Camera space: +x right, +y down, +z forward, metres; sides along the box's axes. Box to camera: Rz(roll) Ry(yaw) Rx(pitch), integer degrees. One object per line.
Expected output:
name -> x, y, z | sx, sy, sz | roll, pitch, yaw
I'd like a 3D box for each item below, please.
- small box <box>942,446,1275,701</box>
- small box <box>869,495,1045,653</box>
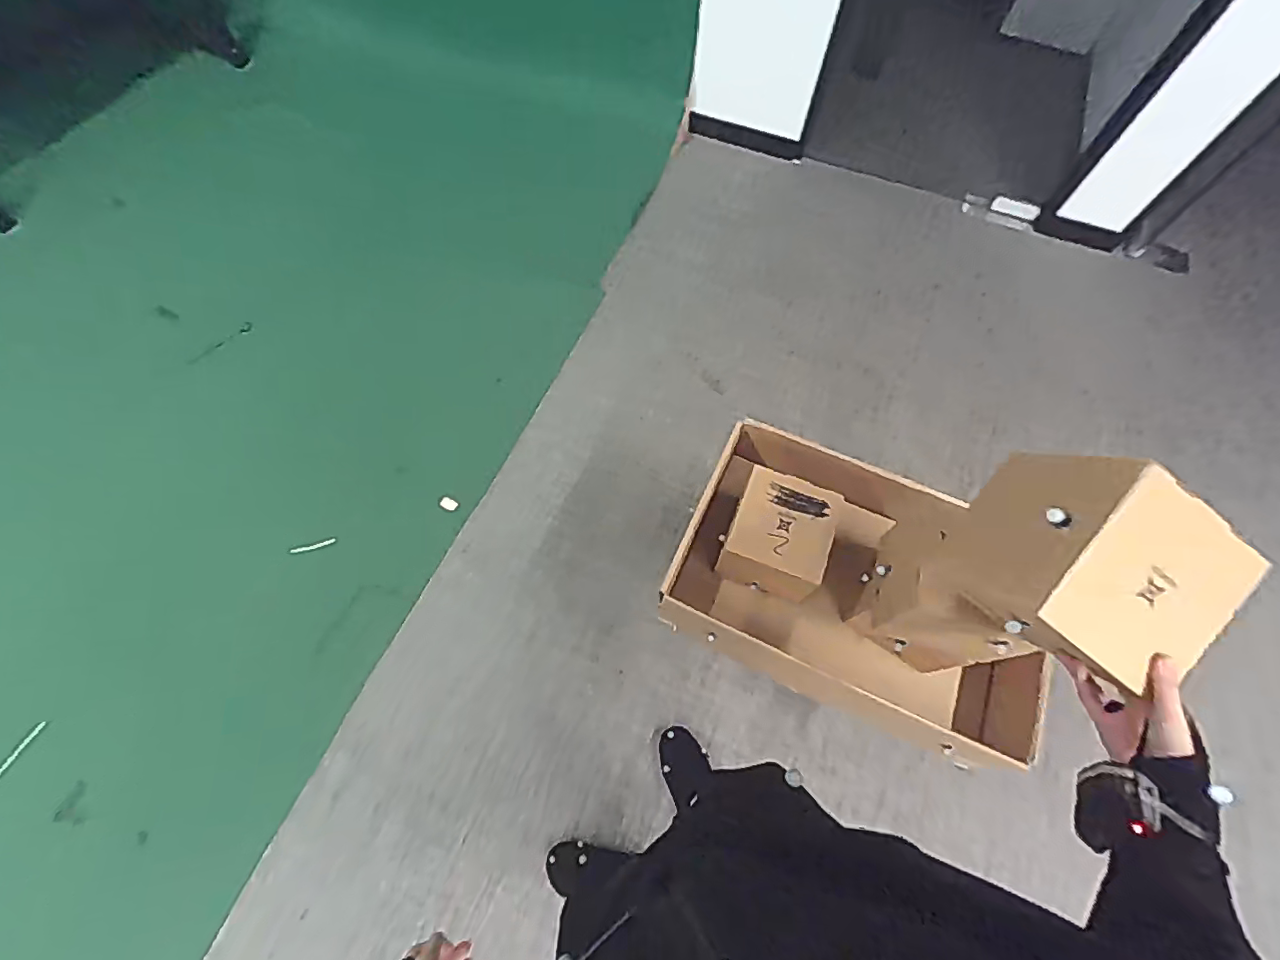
small box -> 0.459, 0.082, 0.566 | 0.168, 0.176, 0.179 | 37, 92, -9
small box -> 0.464, 0.146, 0.795 | 0.179, 0.176, 0.168 | 15, 66, 8
